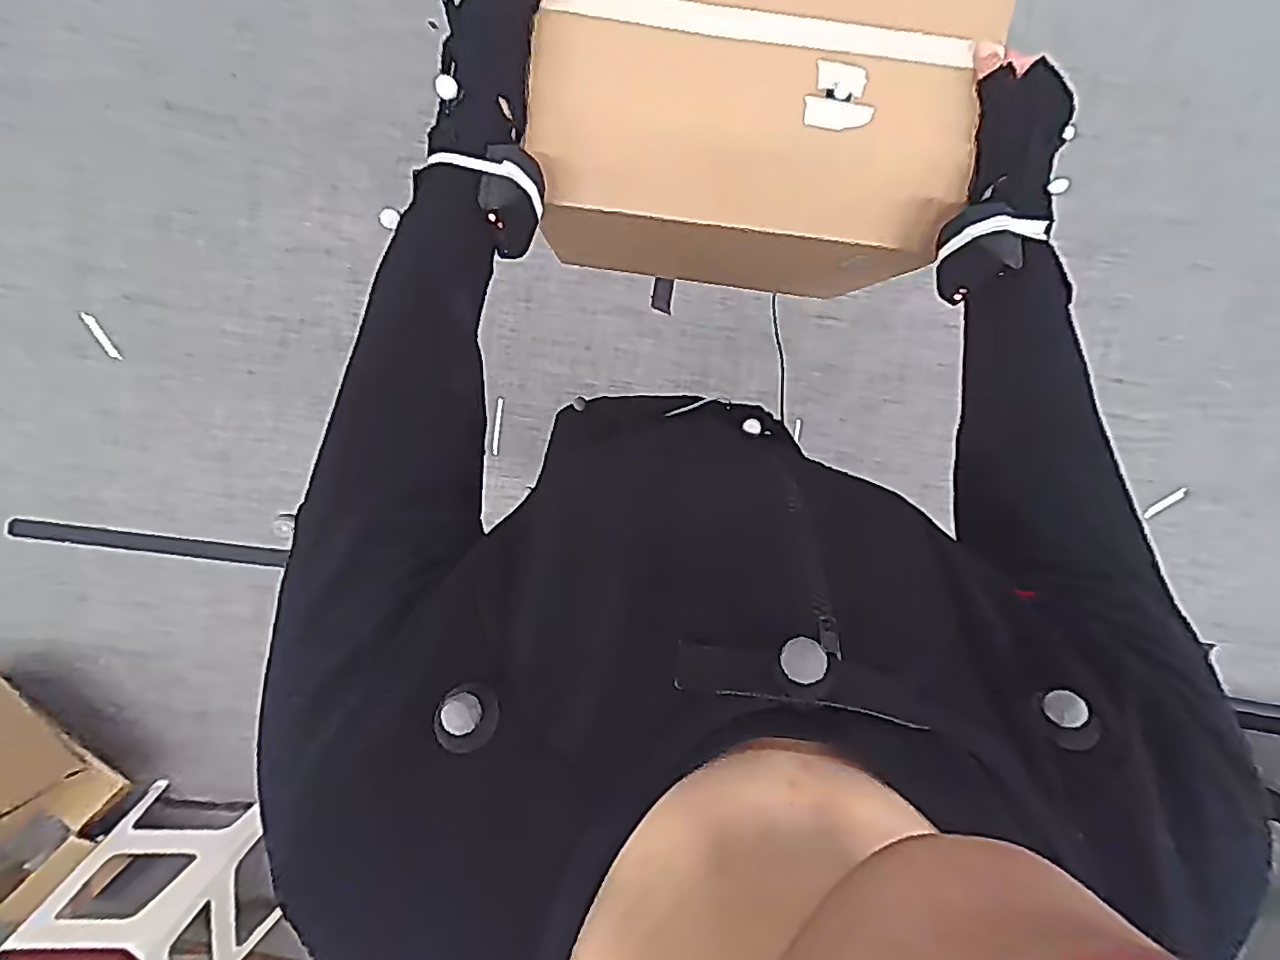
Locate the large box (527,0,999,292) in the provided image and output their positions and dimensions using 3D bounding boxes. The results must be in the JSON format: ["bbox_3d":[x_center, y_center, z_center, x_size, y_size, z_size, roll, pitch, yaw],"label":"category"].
[{"bbox_3d":[0.101,-0.413,0.614,0.408,0.320,0.320,6,102,-3],"label":"large box"}]
